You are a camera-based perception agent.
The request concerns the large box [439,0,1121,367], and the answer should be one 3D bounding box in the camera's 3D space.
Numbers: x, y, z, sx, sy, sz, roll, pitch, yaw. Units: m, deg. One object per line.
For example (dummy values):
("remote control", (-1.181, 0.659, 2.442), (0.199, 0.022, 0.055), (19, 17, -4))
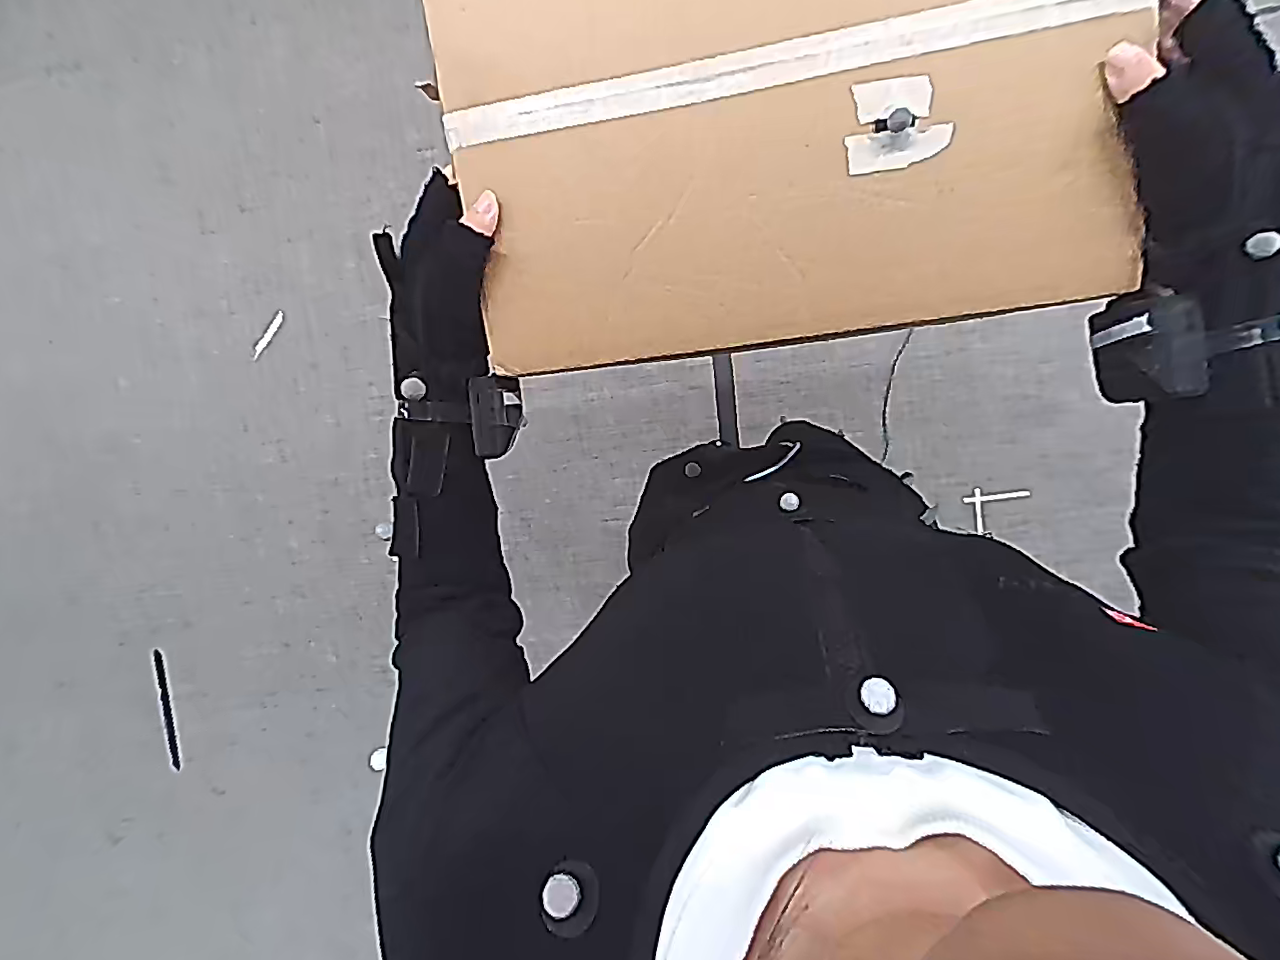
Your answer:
("large box", (0.092, -0.284, 0.479), (0.408, 0.320, 0.320), (-6, 102, 7))
